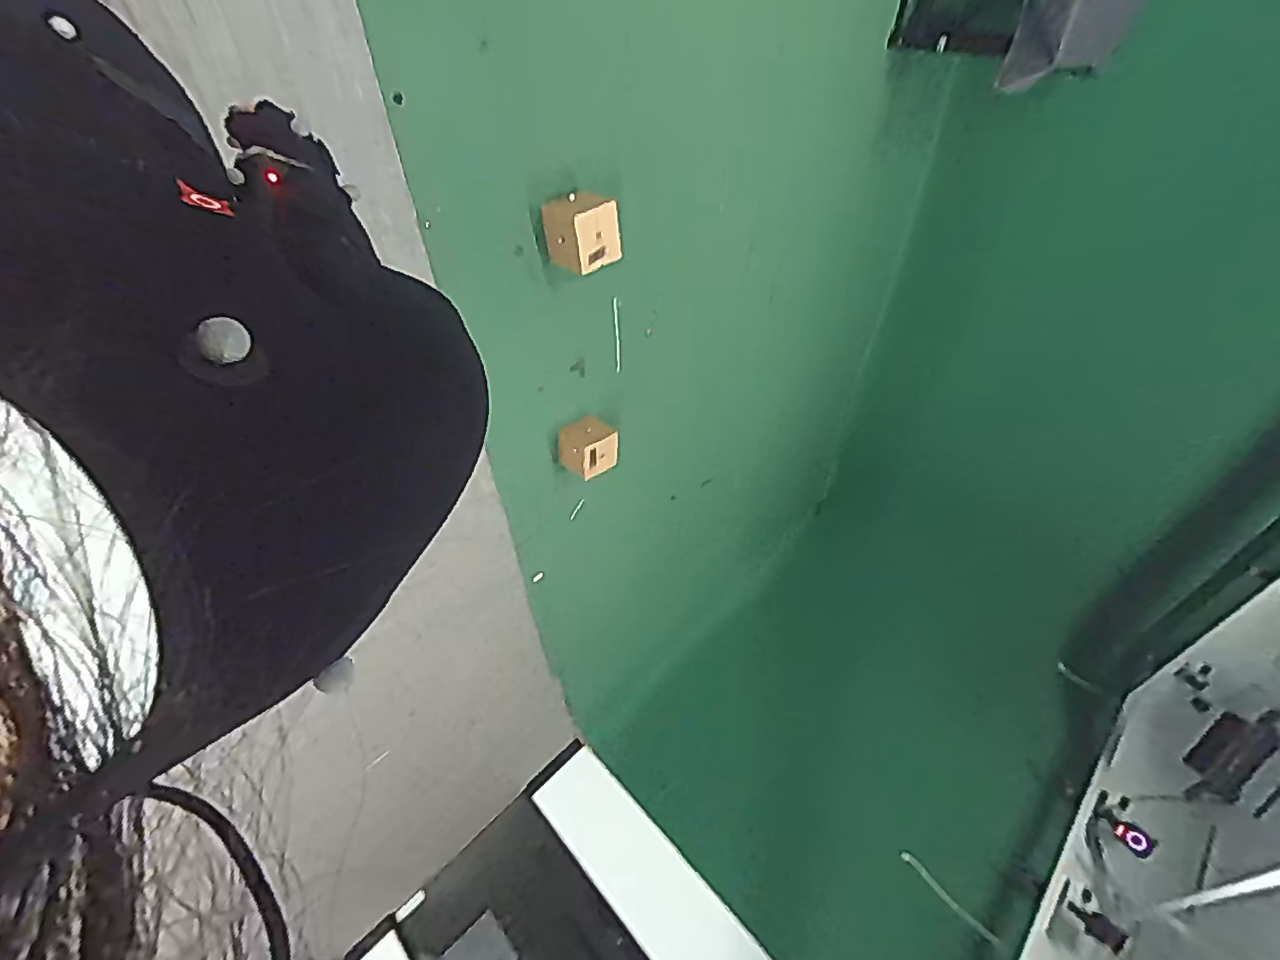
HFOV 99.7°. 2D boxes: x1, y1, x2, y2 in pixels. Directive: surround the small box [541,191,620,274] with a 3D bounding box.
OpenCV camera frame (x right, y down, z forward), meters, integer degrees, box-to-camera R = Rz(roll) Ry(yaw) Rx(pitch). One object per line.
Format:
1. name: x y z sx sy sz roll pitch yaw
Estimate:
1. small box: -0.184 -0.770 1.674 0.168 0.176 0.179 -36 142 -27
